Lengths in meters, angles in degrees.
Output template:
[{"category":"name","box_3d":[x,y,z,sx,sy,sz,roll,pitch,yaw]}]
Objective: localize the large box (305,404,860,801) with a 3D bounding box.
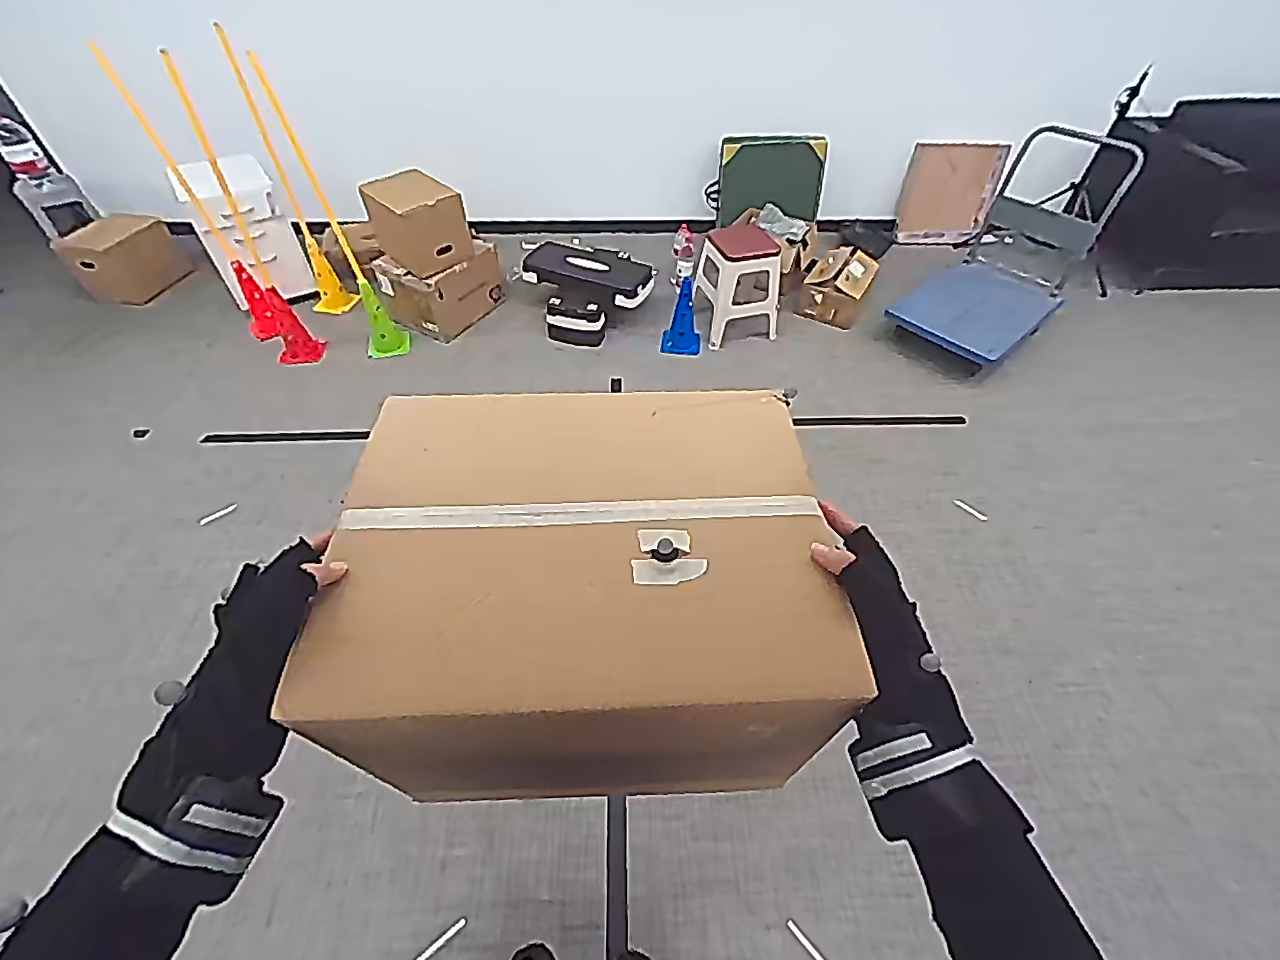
[{"category":"large box","box_3d":[-0.047,0.136,0.590,0.408,0.320,0.320,-1,50,-2]}]
